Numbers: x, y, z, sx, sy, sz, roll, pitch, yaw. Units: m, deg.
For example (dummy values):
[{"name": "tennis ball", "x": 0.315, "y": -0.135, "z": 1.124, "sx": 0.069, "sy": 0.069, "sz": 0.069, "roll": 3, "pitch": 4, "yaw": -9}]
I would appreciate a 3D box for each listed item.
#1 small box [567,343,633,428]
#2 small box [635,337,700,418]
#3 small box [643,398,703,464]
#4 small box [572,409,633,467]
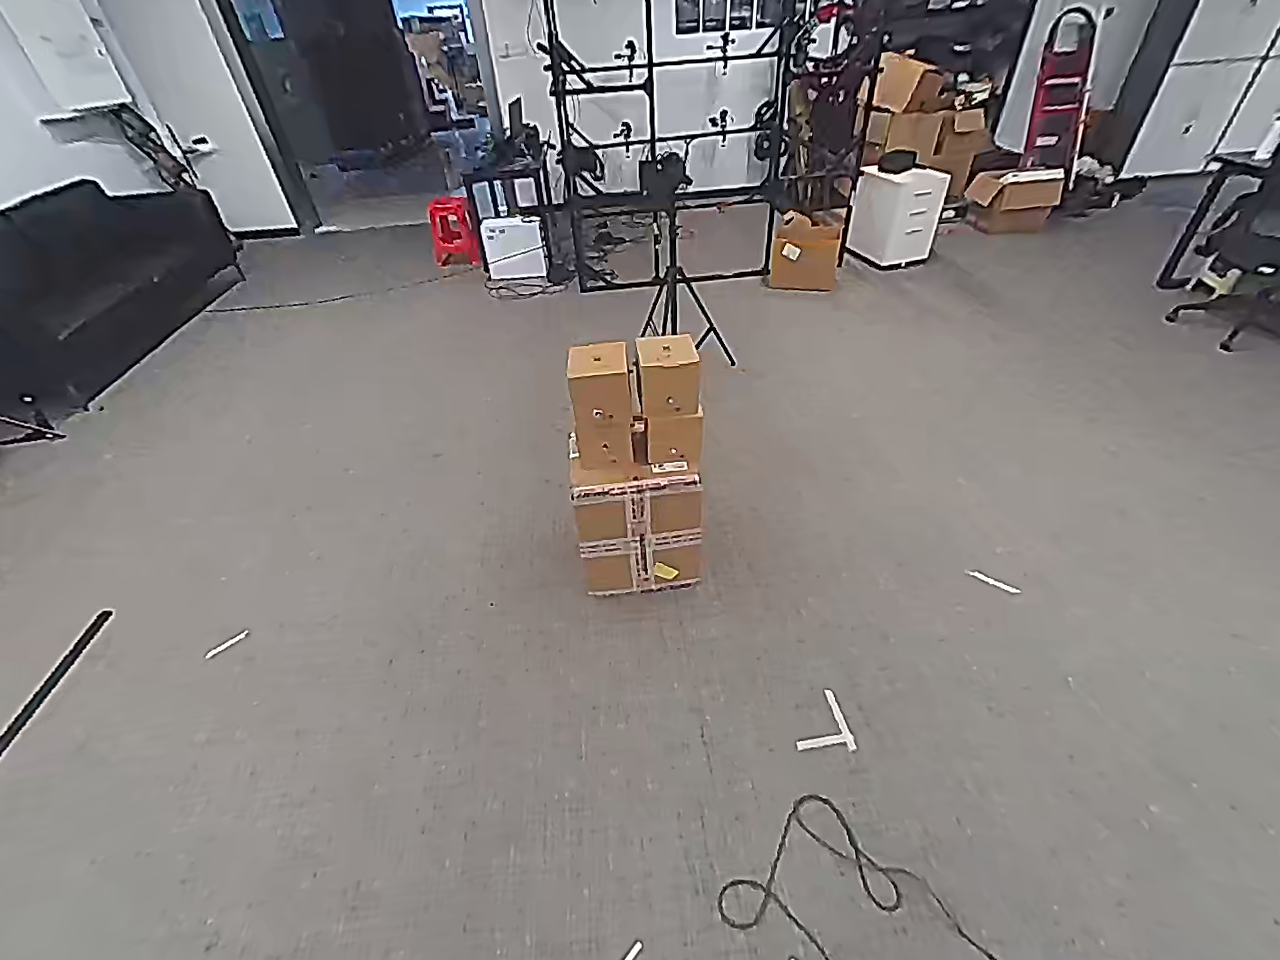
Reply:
[{"name": "small box", "x": -0.112, "y": -0.272, "z": 1.557, "sx": 0.168, "sy": 0.176, "sz": 0.179, "roll": -7, "pitch": 43, "yaw": 1}, {"name": "small box", "x": 0.074, "y": -0.300, "z": 1.576, "sx": 0.168, "sy": 0.176, "sz": 0.179, "roll": -6, "pitch": 41, "yaw": -4}, {"name": "small box", "x": 0.097, "y": -0.169, "z": 1.675, "sx": 0.168, "sy": 0.176, "sz": 0.179, "roll": -4, "pitch": 42, "yaw": -2}, {"name": "small box", "x": -0.112, "y": -0.153, "z": 1.671, "sx": 0.168, "sy": 0.176, "sz": 0.179, "roll": -5, "pitch": 42, "yaw": 0}]
